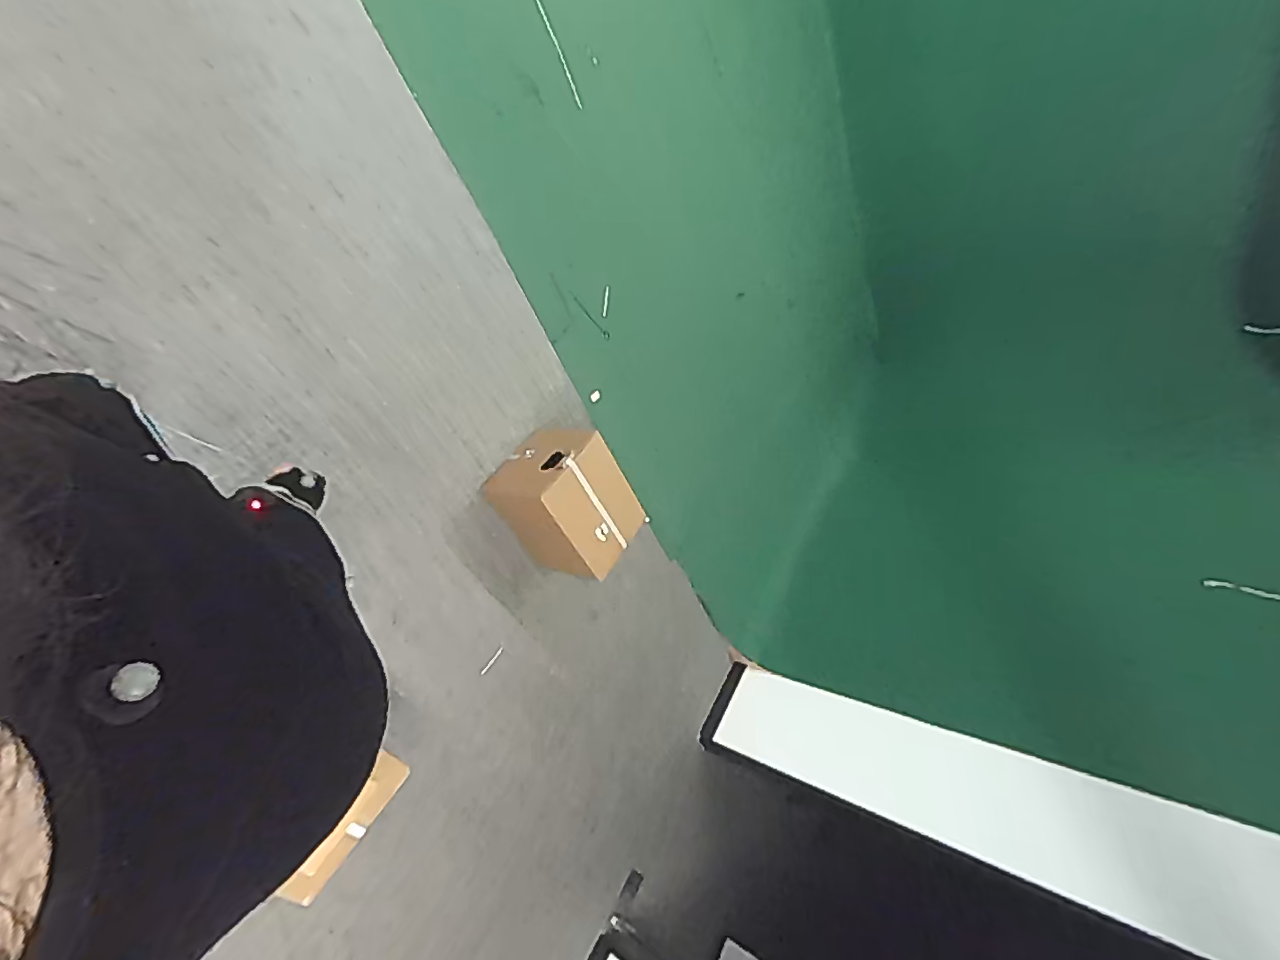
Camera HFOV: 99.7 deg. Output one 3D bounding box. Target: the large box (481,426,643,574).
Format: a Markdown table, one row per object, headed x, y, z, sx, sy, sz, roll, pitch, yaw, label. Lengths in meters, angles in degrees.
| x | y | z | sx | sy | sz | roll | pitch | yaw | label |
| --- | --- | --- | --- | --- | --- | --- | --- | --- | --- |
| -0.256 | 0.060 | 1.854 | 0.320 | 0.320 | 0.408 | -54 | 132 | -32 | large box |
